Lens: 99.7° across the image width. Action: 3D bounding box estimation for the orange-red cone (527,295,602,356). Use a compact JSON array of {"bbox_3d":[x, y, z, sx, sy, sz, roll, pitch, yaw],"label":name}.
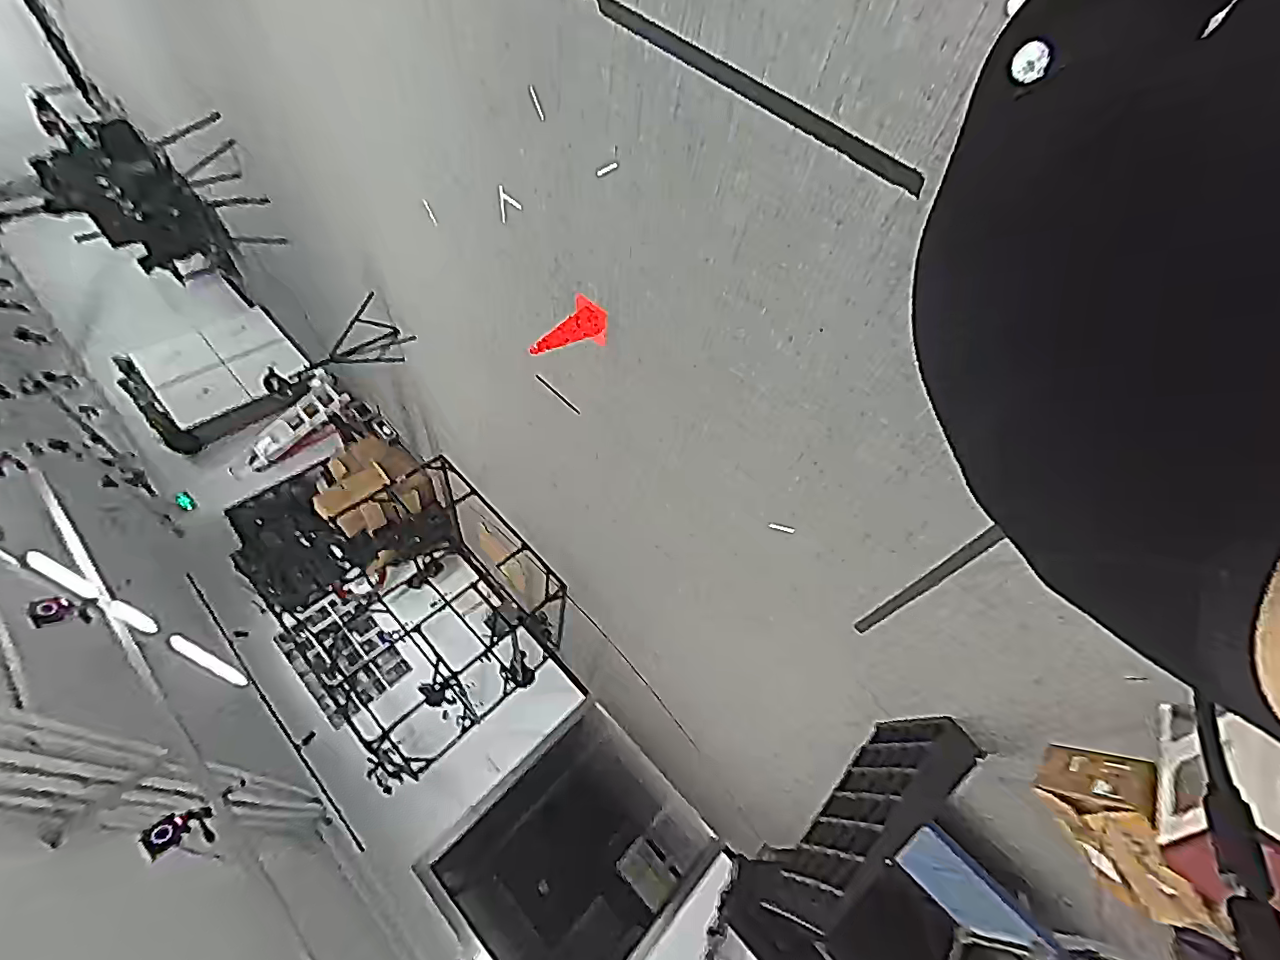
[{"bbox_3d":[-0.361,-0.655,2.448,0.199,0.360,0.198,39,149,21],"label":"orange-red cone"}]
